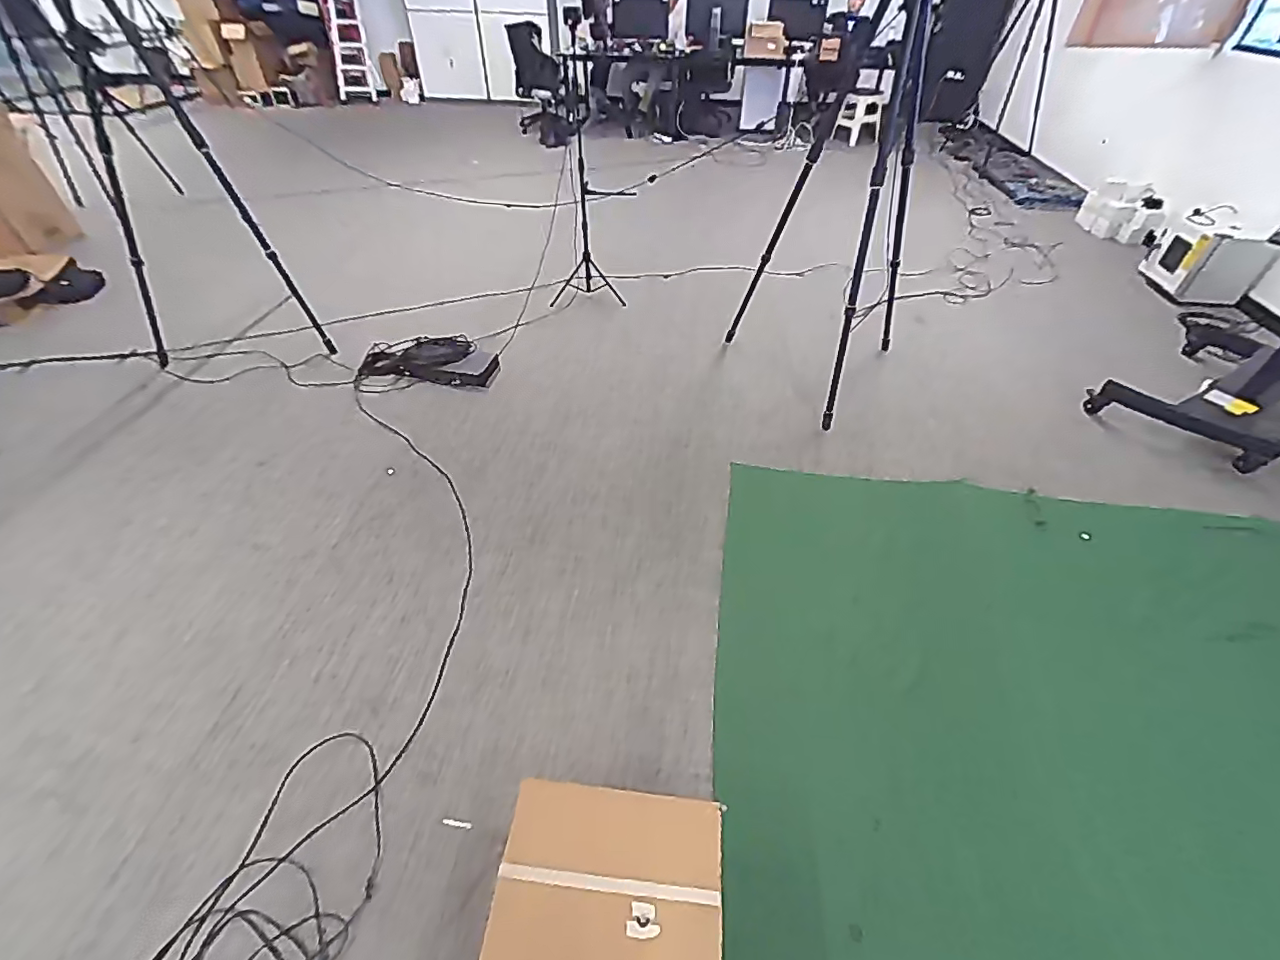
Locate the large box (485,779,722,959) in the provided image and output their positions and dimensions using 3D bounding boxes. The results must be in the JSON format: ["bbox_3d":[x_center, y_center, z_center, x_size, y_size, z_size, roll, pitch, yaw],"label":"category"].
[{"bbox_3d":[-0.056,0.836,1.081,0.408,0.320,0.320,6,44,4],"label":"large box"}]
